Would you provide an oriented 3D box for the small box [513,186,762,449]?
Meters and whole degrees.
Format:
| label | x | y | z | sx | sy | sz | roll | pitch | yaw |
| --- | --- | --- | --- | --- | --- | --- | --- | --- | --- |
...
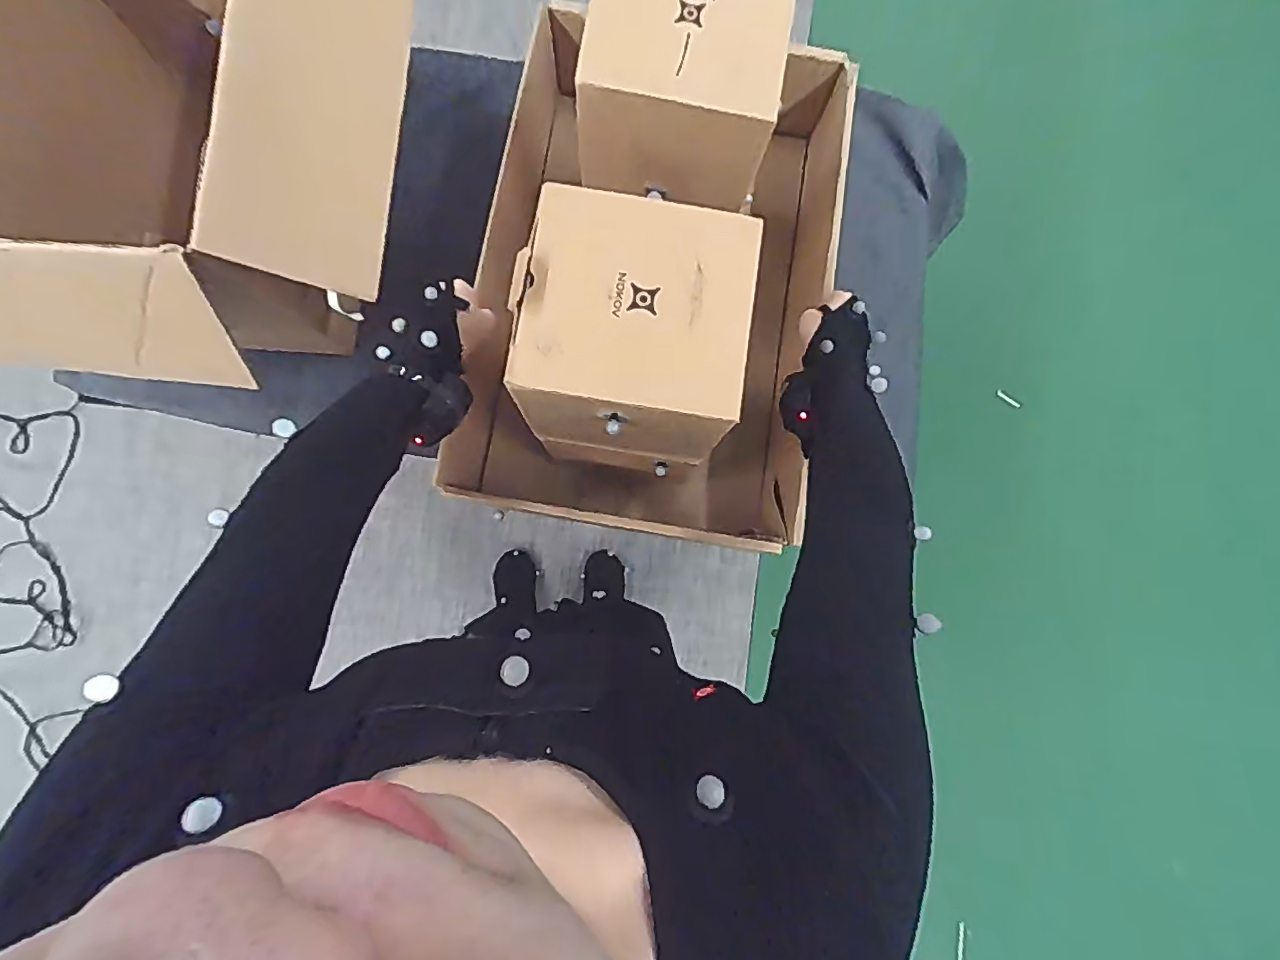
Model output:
| label | x | y | z | sx | sy | sz | roll | pitch | yaw |
| --- | --- | --- | --- | --- | --- | --- | --- | --- | --- |
| small box | -0.004 | -0.130 | 0.496 | 0.179 | 0.176 | 0.168 | 9 | 83 | -3 |

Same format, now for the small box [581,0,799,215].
| label | x | y | z | sx | sy | sz | roll | pitch | yaw |
| --- | --- | --- | --- | --- | --- | --- | --- | --- | --- |
| small box | 0.041 | -0.379 | 0.524 | 0.168 | 0.176 | 0.179 | 11 | 86 | -3 |
